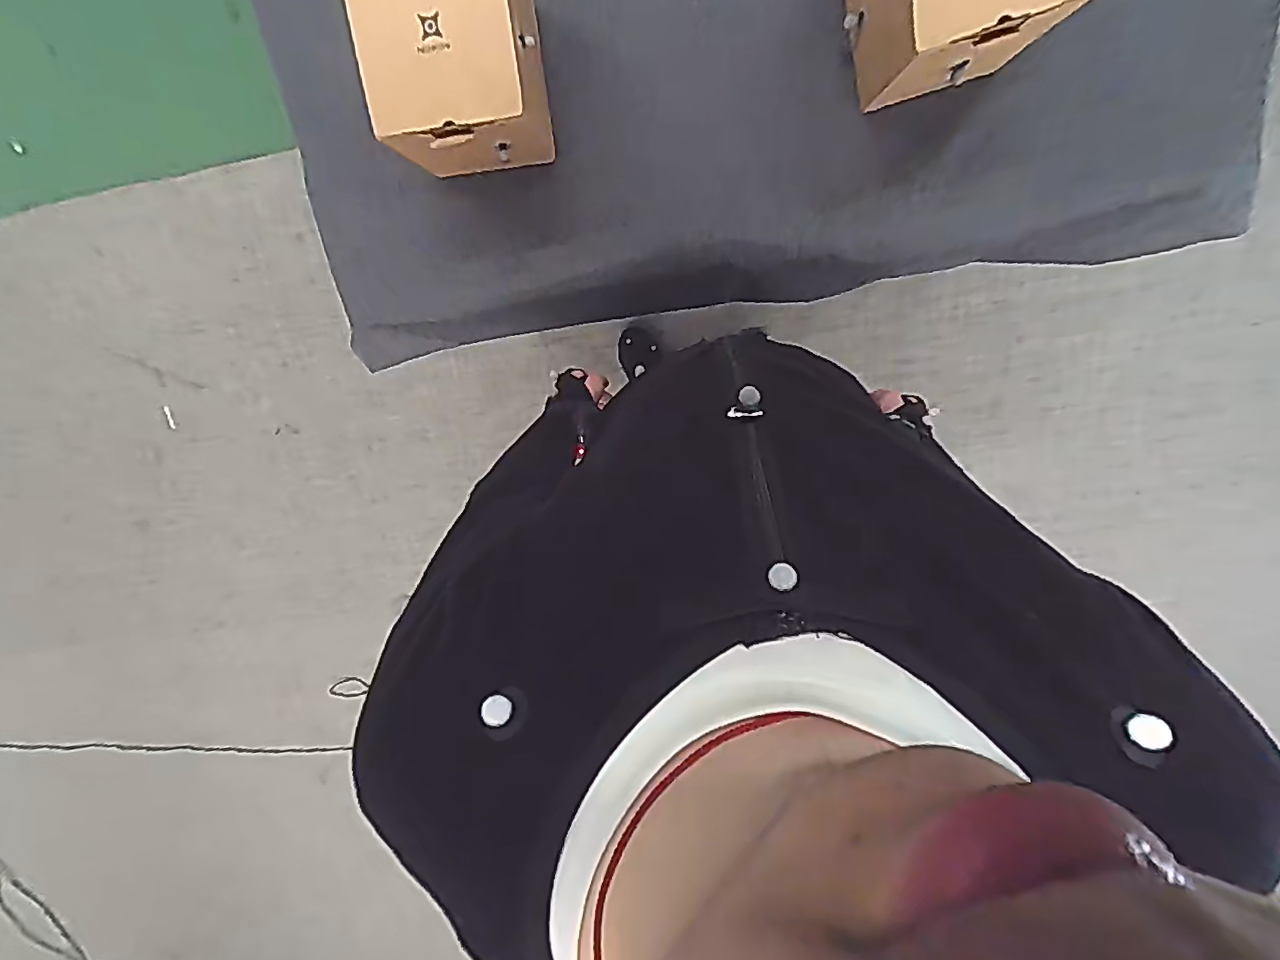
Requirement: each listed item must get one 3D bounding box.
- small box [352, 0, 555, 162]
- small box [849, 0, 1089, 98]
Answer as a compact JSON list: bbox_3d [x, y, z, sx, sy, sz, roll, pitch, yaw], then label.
[{"bbox_3d":[-0.201,-0.484,0.618,0.168,0.176,0.179,-5,105,3],"label":"small box"},{"bbox_3d":[0.332,-0.538,0.571,0.168,0.176,0.179,-14,107,7],"label":"small box"}]
